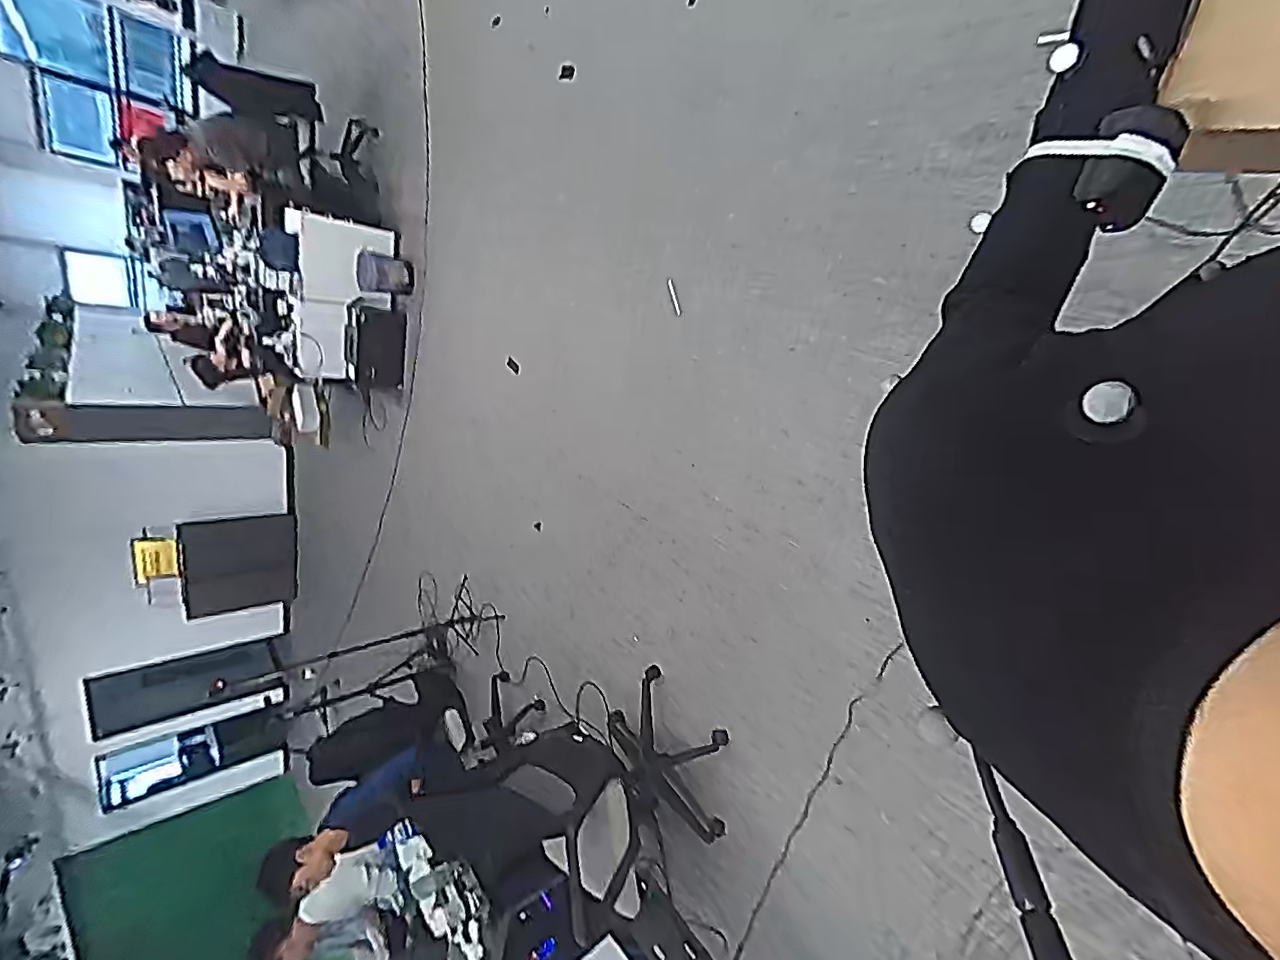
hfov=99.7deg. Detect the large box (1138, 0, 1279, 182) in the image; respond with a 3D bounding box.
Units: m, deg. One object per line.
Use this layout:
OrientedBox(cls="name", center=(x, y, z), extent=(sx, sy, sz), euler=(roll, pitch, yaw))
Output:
OrientedBox(cls="large box", center=(0.626, -0.372, 0.327), extent=(0.408, 0.320, 0.320), euler=(25, 124, 37))
